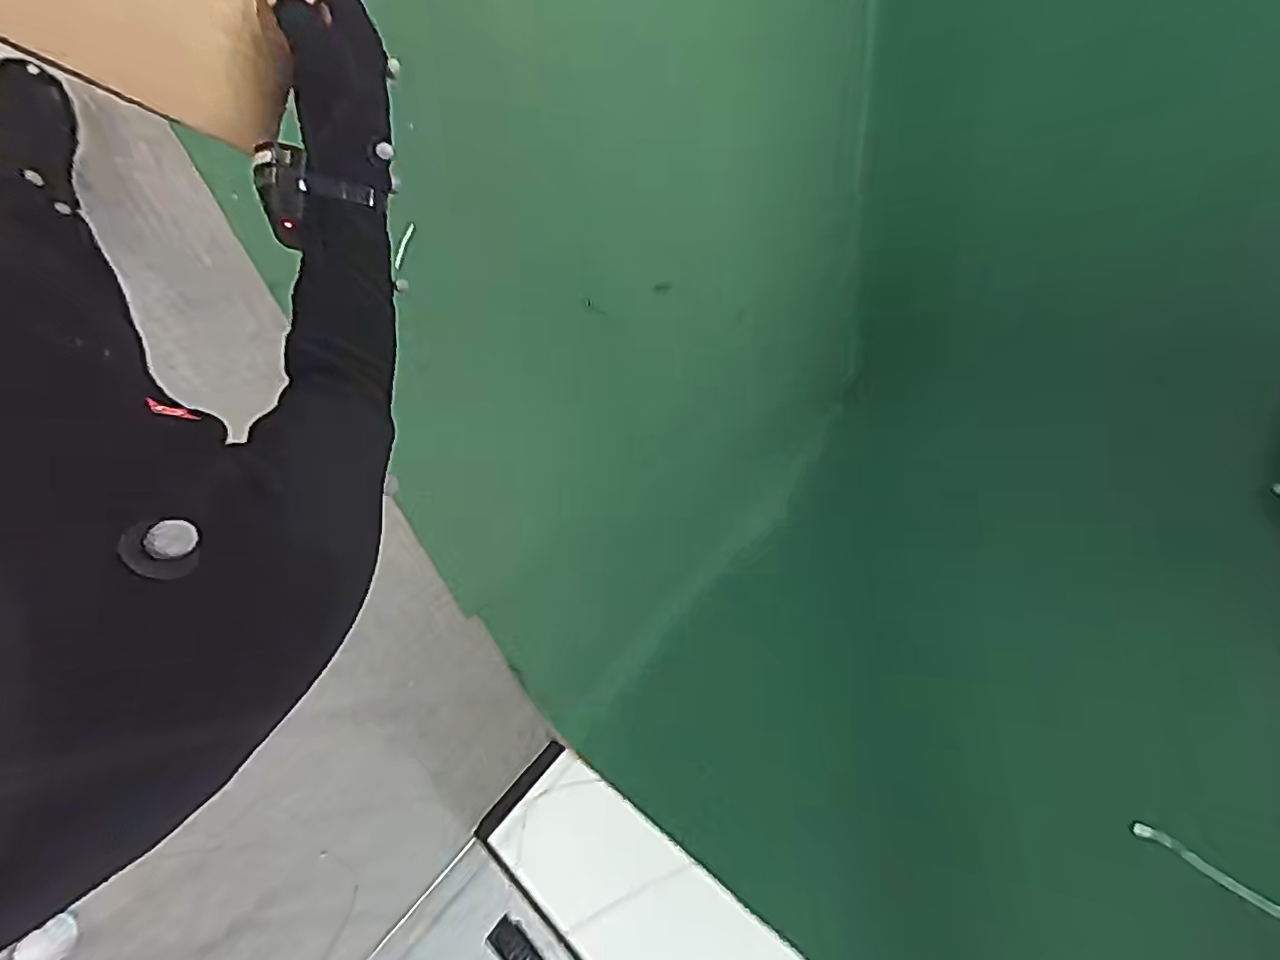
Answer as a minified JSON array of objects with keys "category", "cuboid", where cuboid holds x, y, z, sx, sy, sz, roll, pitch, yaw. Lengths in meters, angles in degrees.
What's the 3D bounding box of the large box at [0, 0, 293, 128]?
[{"category":"large box","cuboid":[-0.473,-0.497,0.329,0.408,0.320,0.320,5,114,-55]}]
